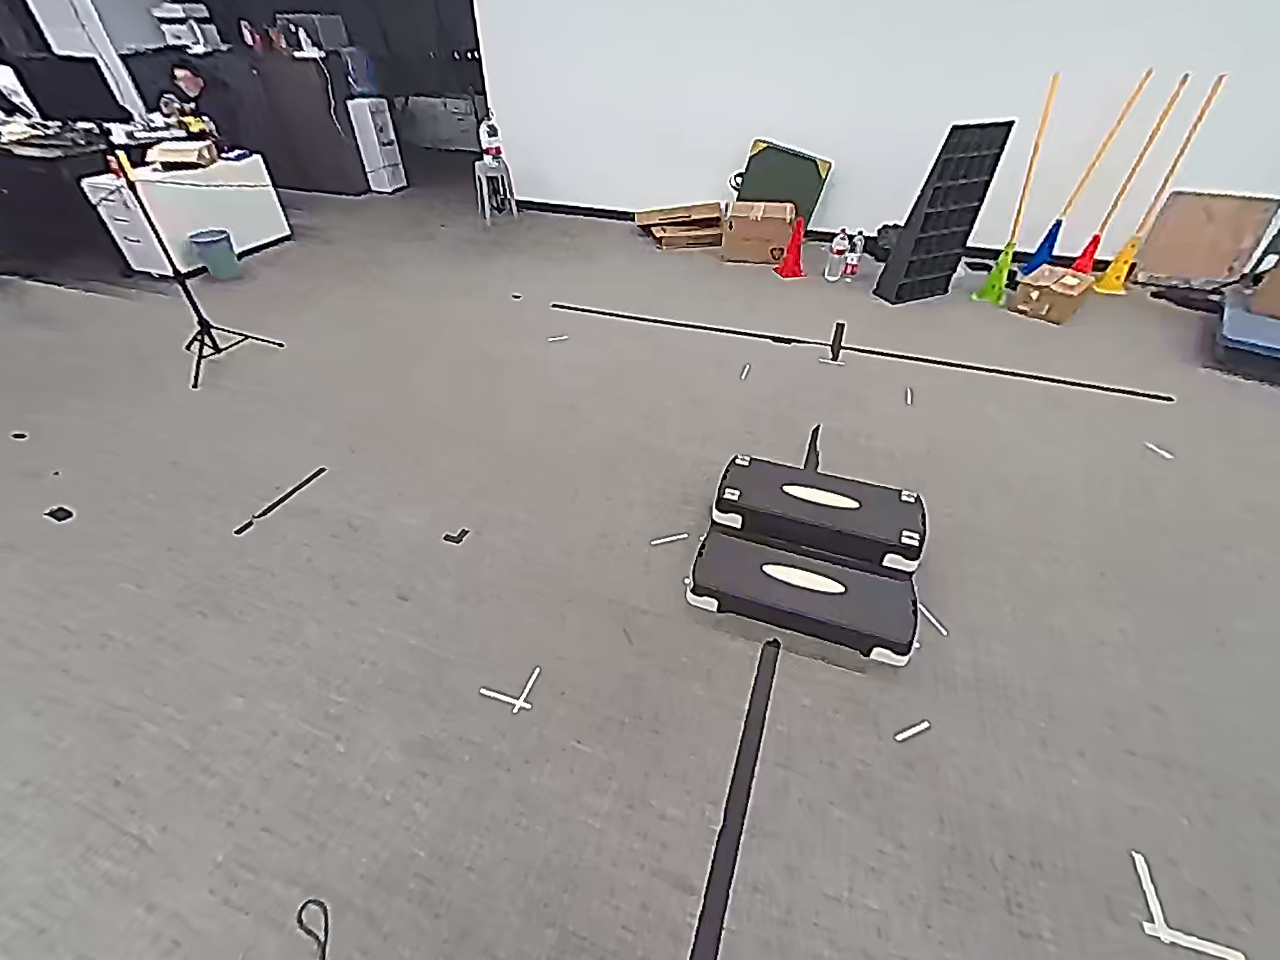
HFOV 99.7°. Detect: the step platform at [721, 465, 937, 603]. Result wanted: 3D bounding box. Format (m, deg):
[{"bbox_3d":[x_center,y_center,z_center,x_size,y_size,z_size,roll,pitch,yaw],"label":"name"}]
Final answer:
[{"bbox_3d":[0.634,0.166,1.859,0.684,0.204,0.286,16,42,18],"label":"step platform"}]
